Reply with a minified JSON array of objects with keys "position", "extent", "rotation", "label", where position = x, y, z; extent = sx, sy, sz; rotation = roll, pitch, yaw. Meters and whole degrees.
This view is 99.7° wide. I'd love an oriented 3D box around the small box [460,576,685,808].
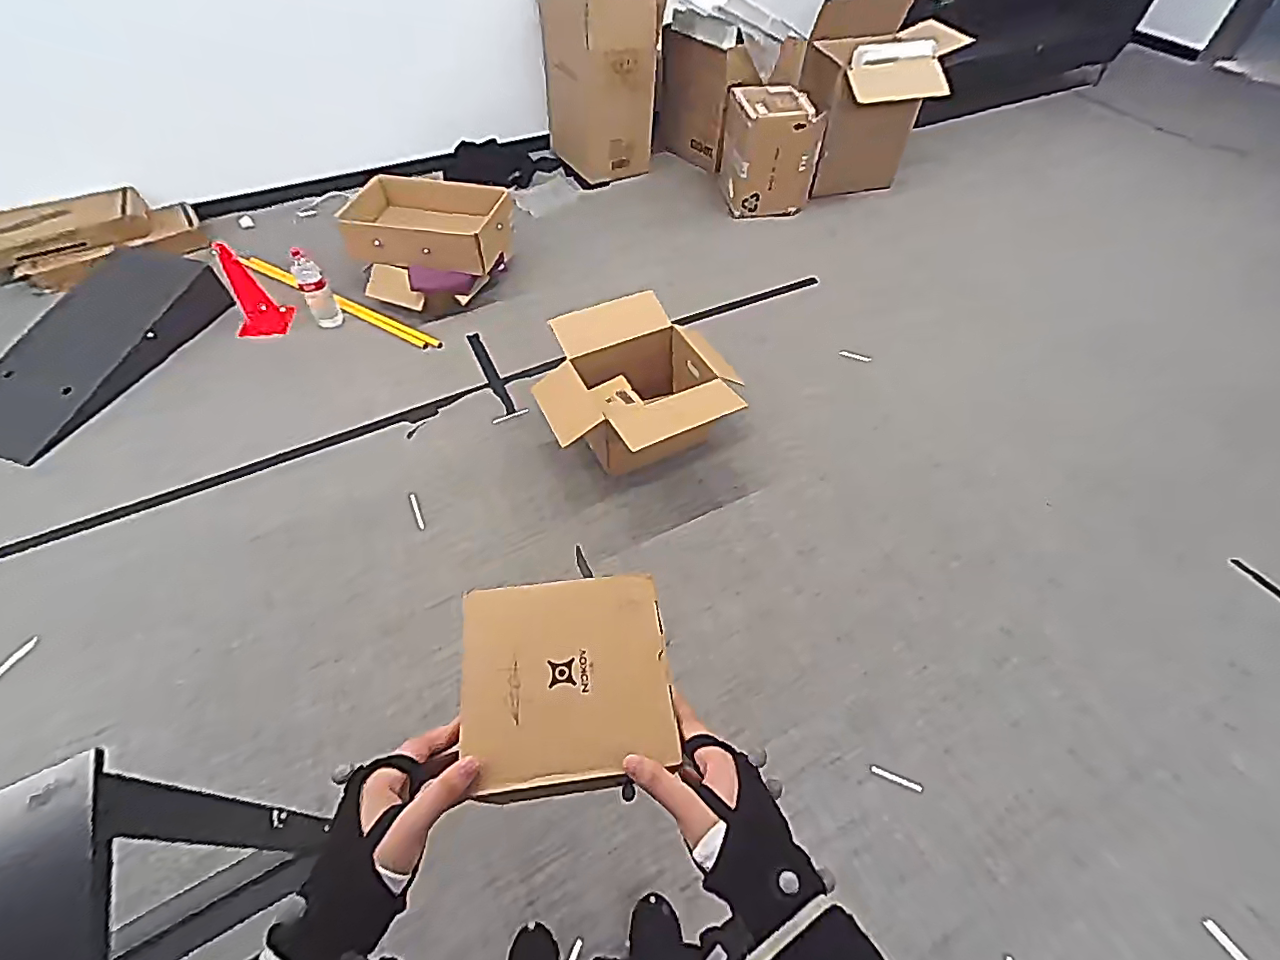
[{"position":[-0.064,0.209,0.524],"extent":[0.179,0.176,0.168],"rotation":[-7,57,-6],"label":"small box"}]
